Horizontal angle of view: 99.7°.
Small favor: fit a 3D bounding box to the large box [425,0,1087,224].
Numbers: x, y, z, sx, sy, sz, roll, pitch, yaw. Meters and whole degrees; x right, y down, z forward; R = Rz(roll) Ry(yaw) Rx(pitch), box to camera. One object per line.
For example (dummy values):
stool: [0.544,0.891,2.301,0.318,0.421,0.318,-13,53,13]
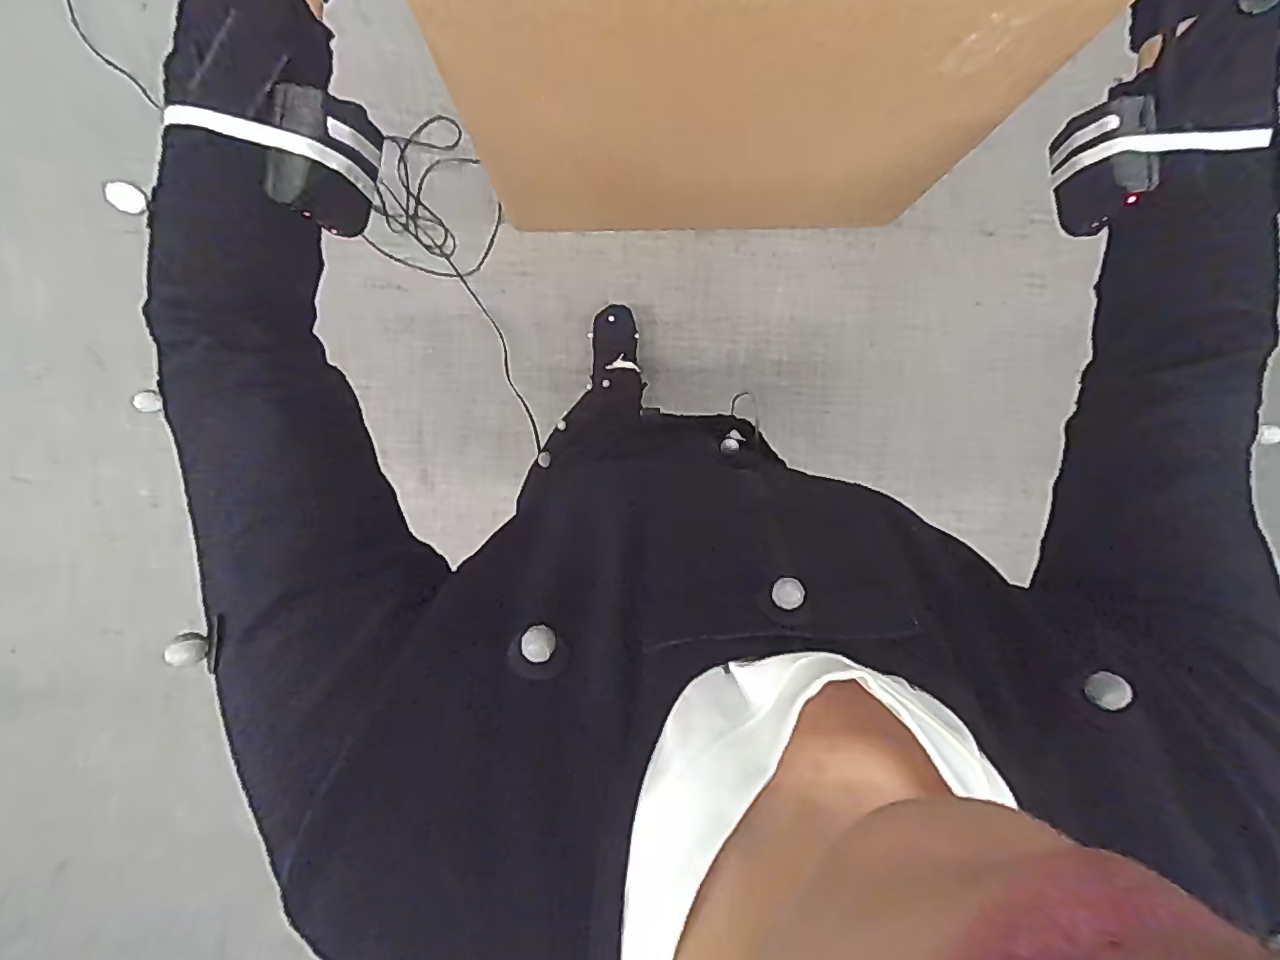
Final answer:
large box: [0.062,-0.425,0.421,0.408,0.320,0.320,-3,92,-2]
